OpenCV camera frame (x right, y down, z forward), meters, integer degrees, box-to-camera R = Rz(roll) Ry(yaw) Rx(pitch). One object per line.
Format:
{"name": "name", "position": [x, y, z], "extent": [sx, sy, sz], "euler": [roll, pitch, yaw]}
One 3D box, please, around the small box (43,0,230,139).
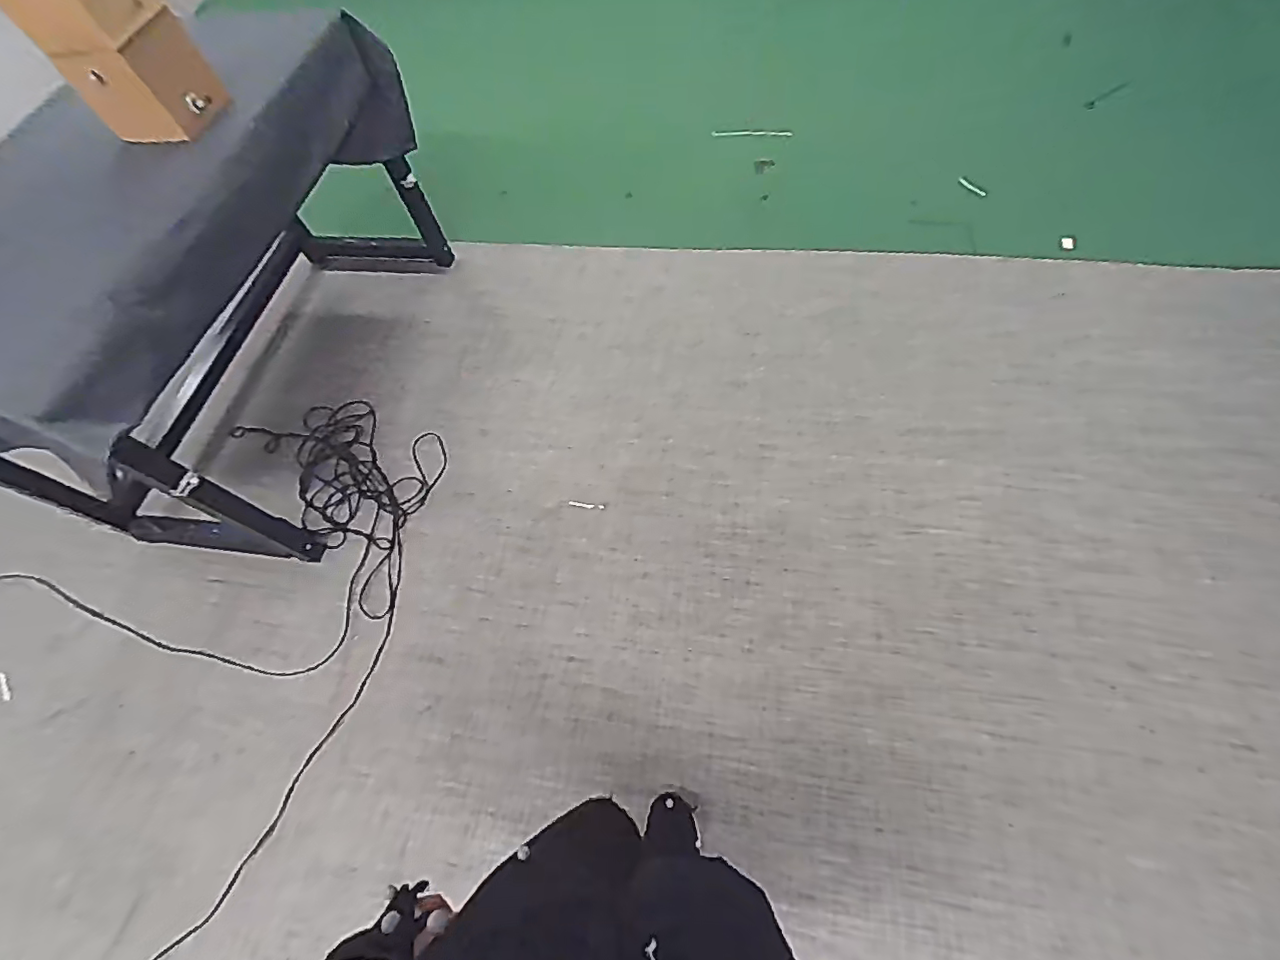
{"name": "small box", "position": [-0.985, -0.811, 1.077], "extent": [0.179, 0.176, 0.168], "euler": [7, 65, 9]}

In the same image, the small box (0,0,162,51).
{"name": "small box", "position": [-0.996, -0.879, 0.930], "extent": [0.179, 0.176, 0.168], "euler": [5, 65, 11]}
